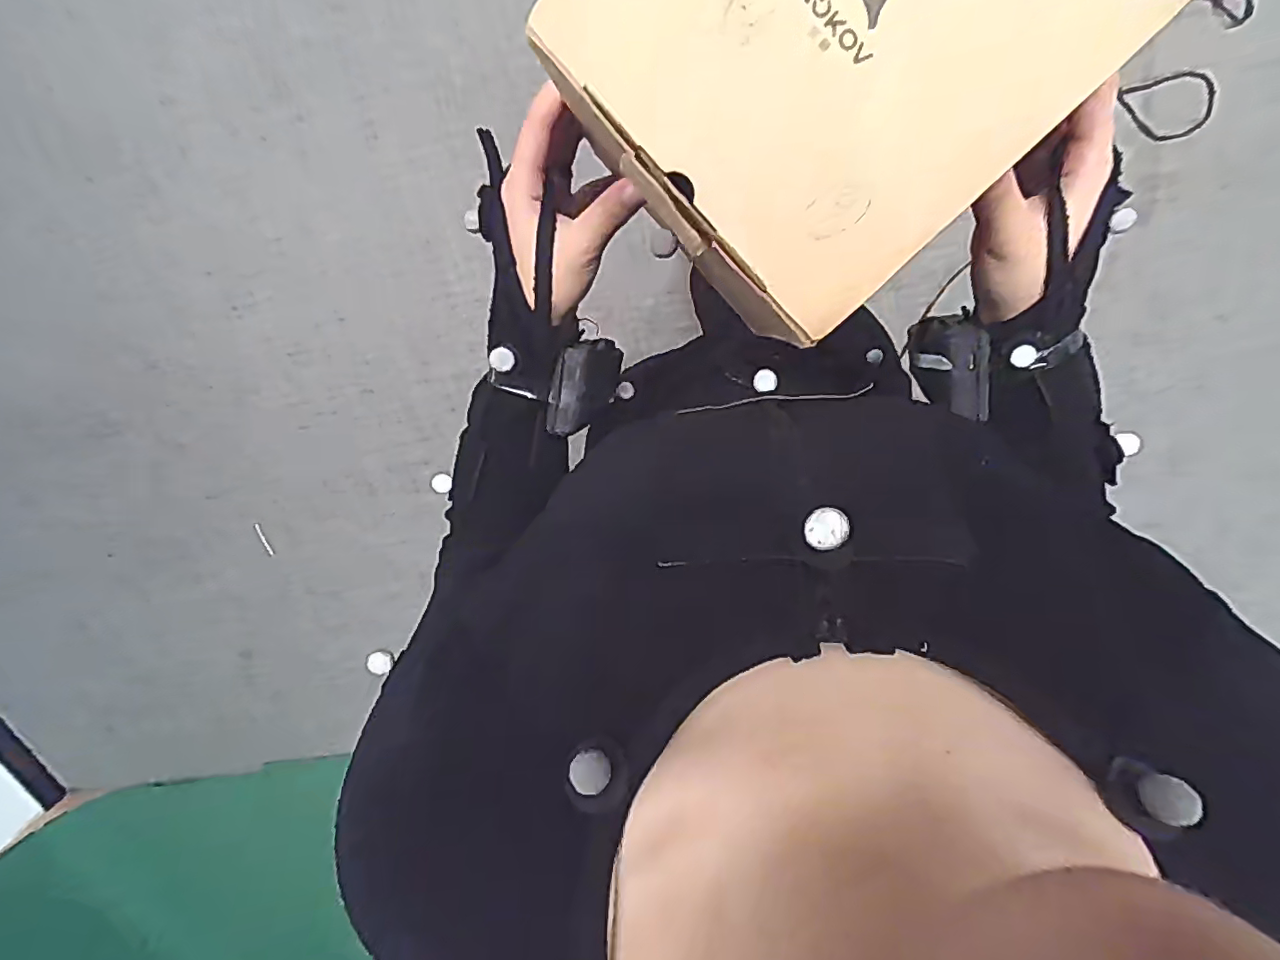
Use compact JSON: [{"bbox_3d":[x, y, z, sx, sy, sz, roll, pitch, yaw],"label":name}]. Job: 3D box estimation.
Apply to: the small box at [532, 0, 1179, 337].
[{"bbox_3d":[0.081,-0.194,0.272,0.168,0.176,0.179,45,106,-9],"label":"small box"}]
